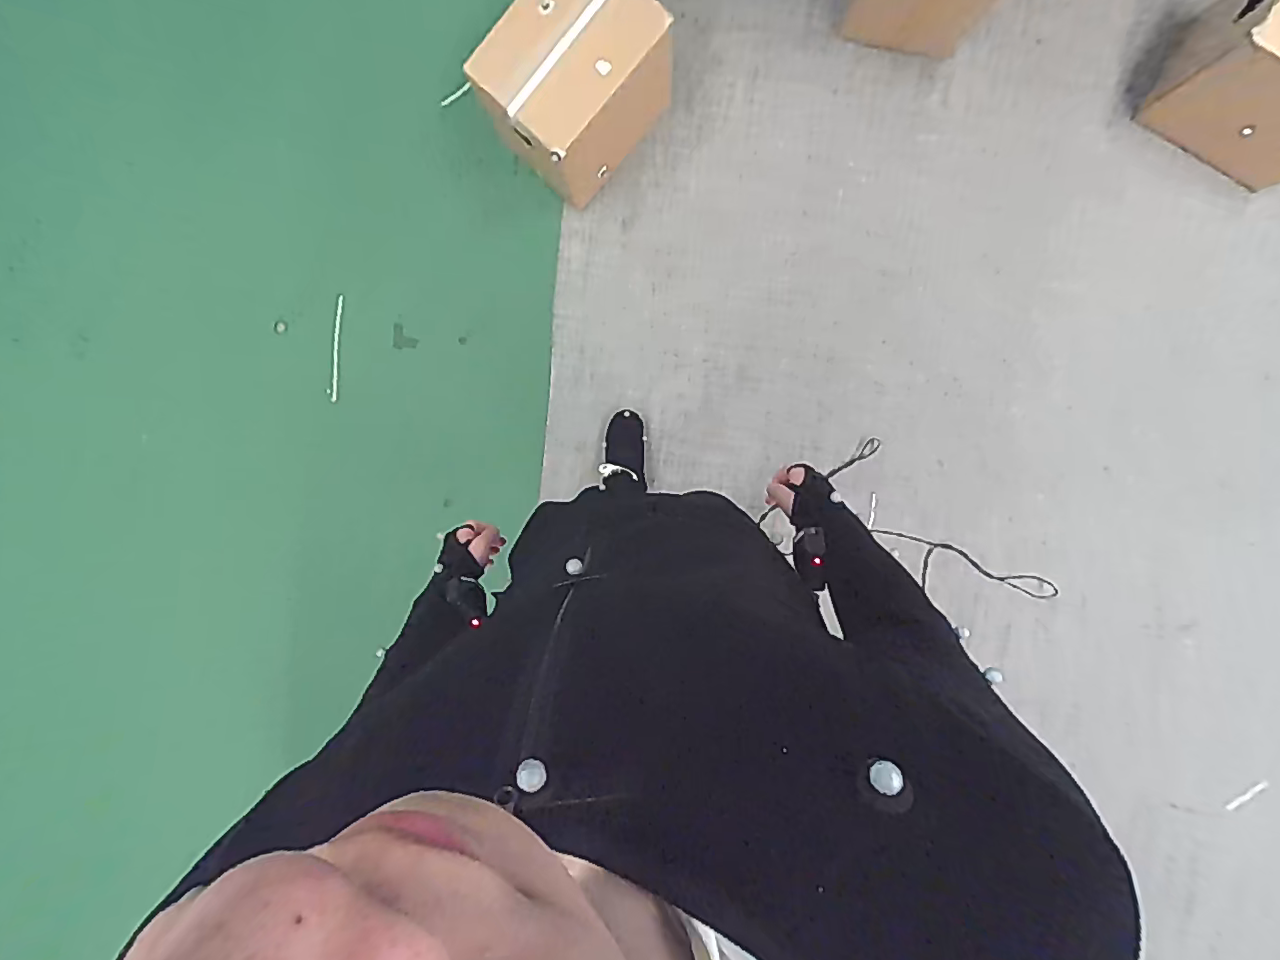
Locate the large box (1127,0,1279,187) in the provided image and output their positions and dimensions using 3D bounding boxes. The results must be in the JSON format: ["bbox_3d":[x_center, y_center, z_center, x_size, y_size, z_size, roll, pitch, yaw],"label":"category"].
[{"bbox_3d":[1.569,-1.007,1.321,0.408,0.320,0.320,30,95,0],"label":"large box"}]
